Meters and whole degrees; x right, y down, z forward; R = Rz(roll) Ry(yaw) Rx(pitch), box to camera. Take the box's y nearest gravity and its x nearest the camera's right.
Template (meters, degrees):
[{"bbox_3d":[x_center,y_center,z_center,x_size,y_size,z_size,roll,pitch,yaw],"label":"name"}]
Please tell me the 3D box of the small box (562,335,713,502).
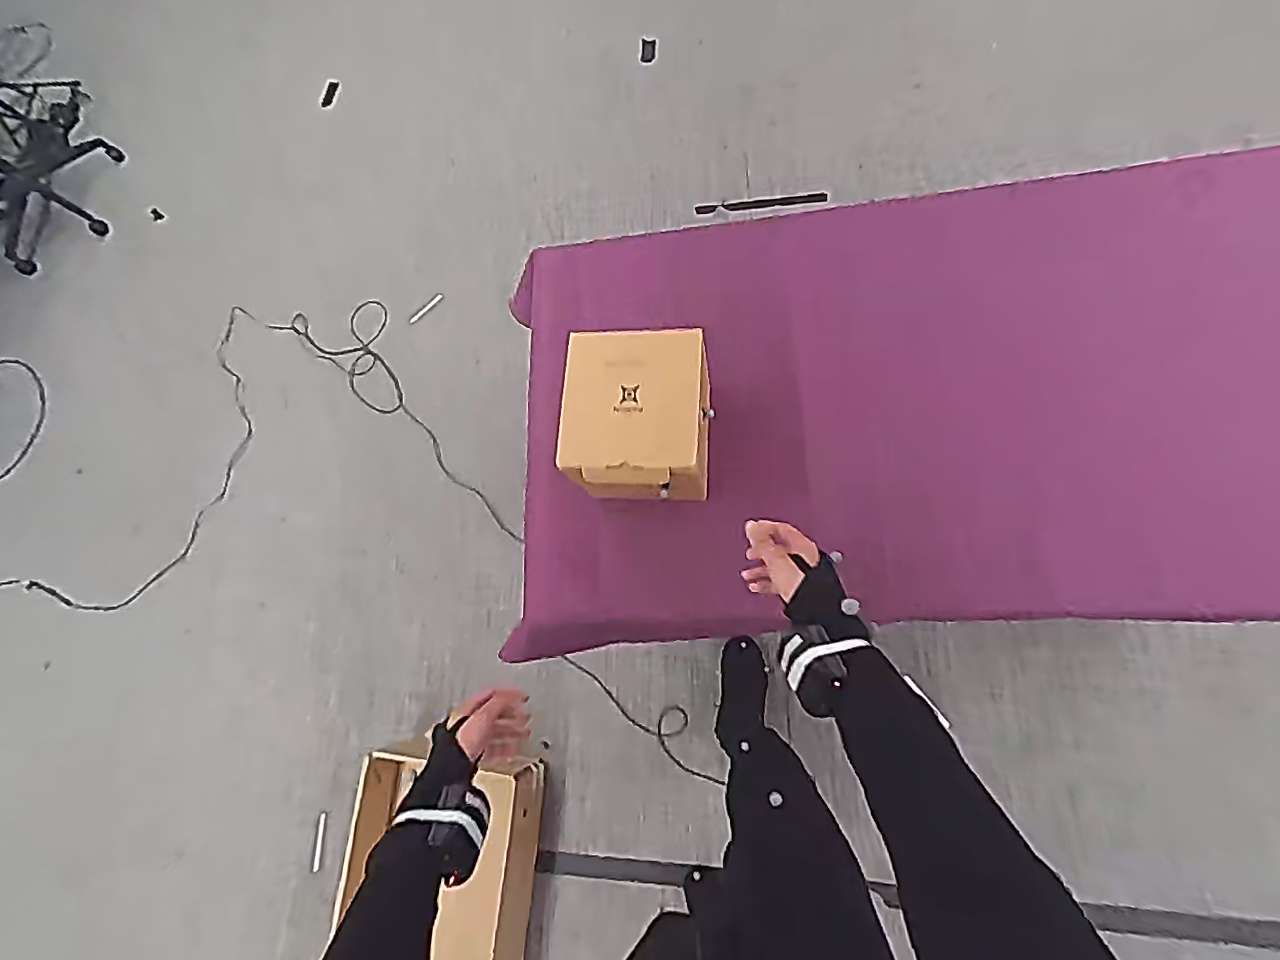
[{"bbox_3d":[0.008,-0.072,0.712,0.168,0.176,0.179,2,76,11],"label":"small box"}]
